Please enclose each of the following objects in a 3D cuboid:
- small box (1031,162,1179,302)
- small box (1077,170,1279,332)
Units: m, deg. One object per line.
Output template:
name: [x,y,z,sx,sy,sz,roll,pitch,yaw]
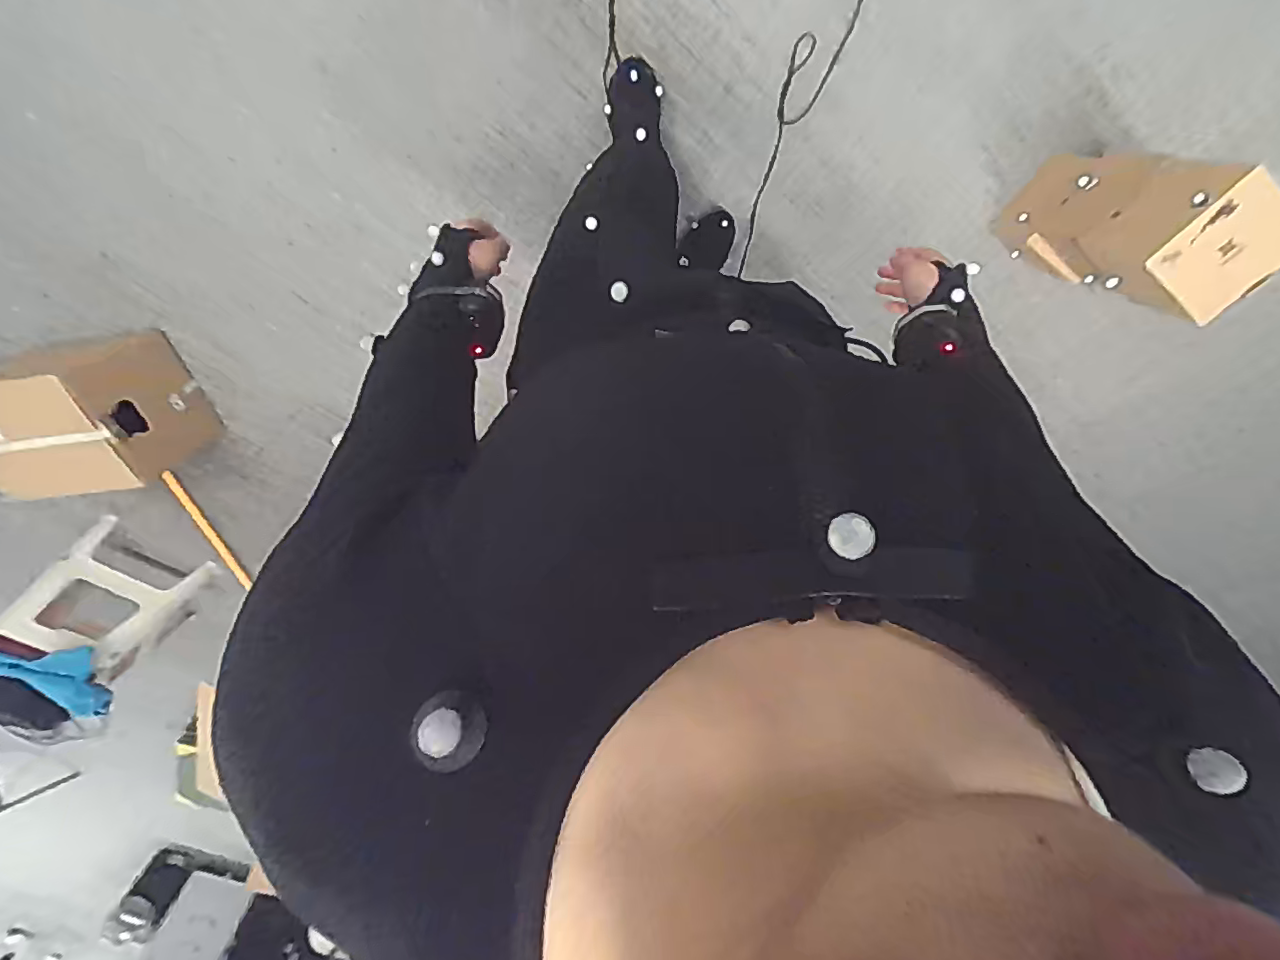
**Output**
small box: [0.903,-0.475,1.024,0.179,0.176,0.168,32,119,-17]
small box: [0.889,-0.382,0.890,0.179,0.176,0.168,31,119,-18]
